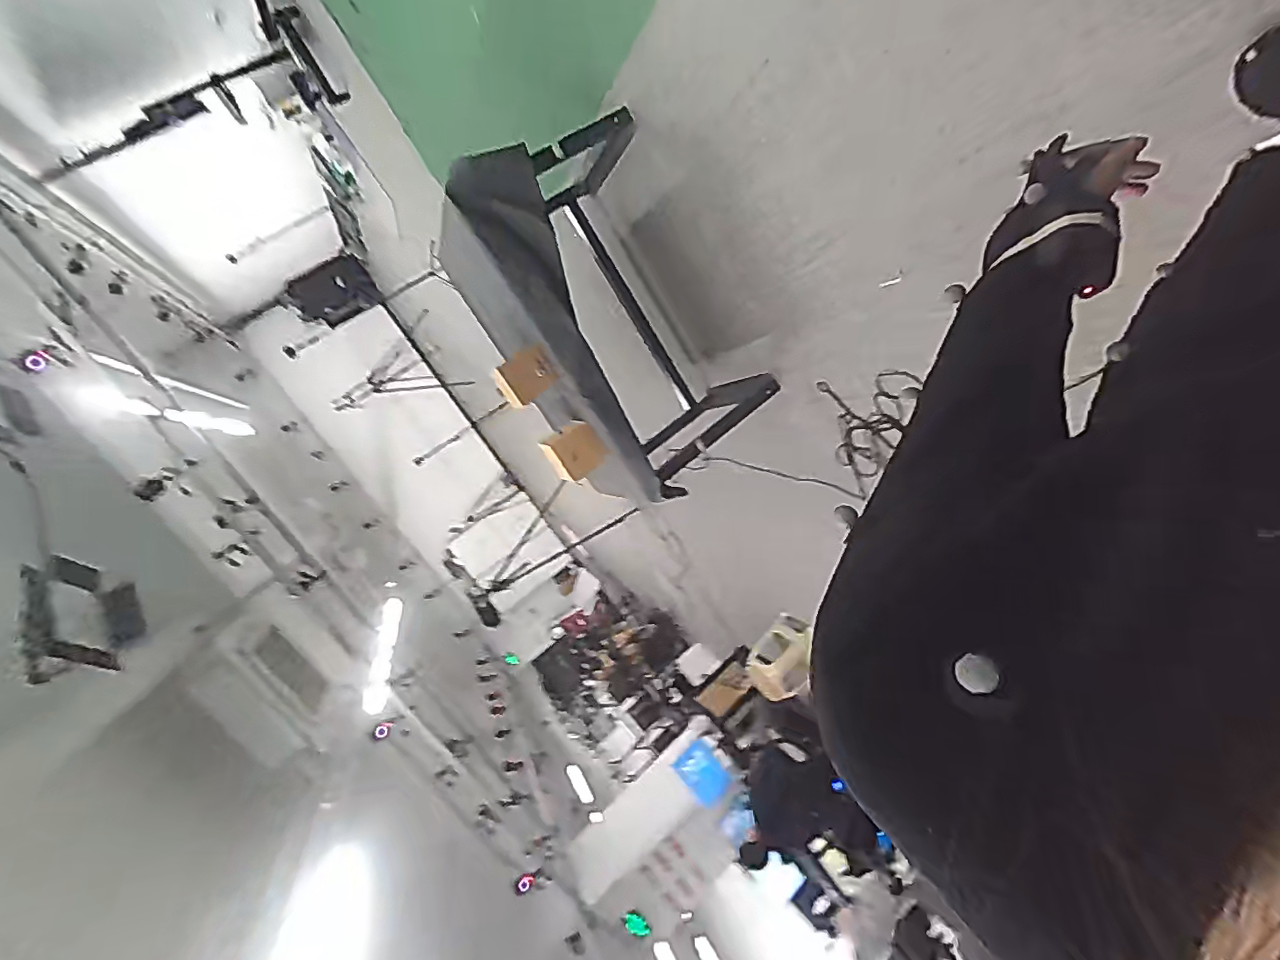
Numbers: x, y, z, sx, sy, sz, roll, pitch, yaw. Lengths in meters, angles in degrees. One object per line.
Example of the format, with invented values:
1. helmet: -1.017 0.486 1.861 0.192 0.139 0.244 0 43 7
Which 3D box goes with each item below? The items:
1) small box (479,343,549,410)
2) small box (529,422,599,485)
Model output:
1. small box: -0.453 -0.372 1.955 0.168 0.176 0.179 56 161 -16
2. small box: -0.286 -0.107 2.050 0.179 0.176 0.168 58 161 -20
